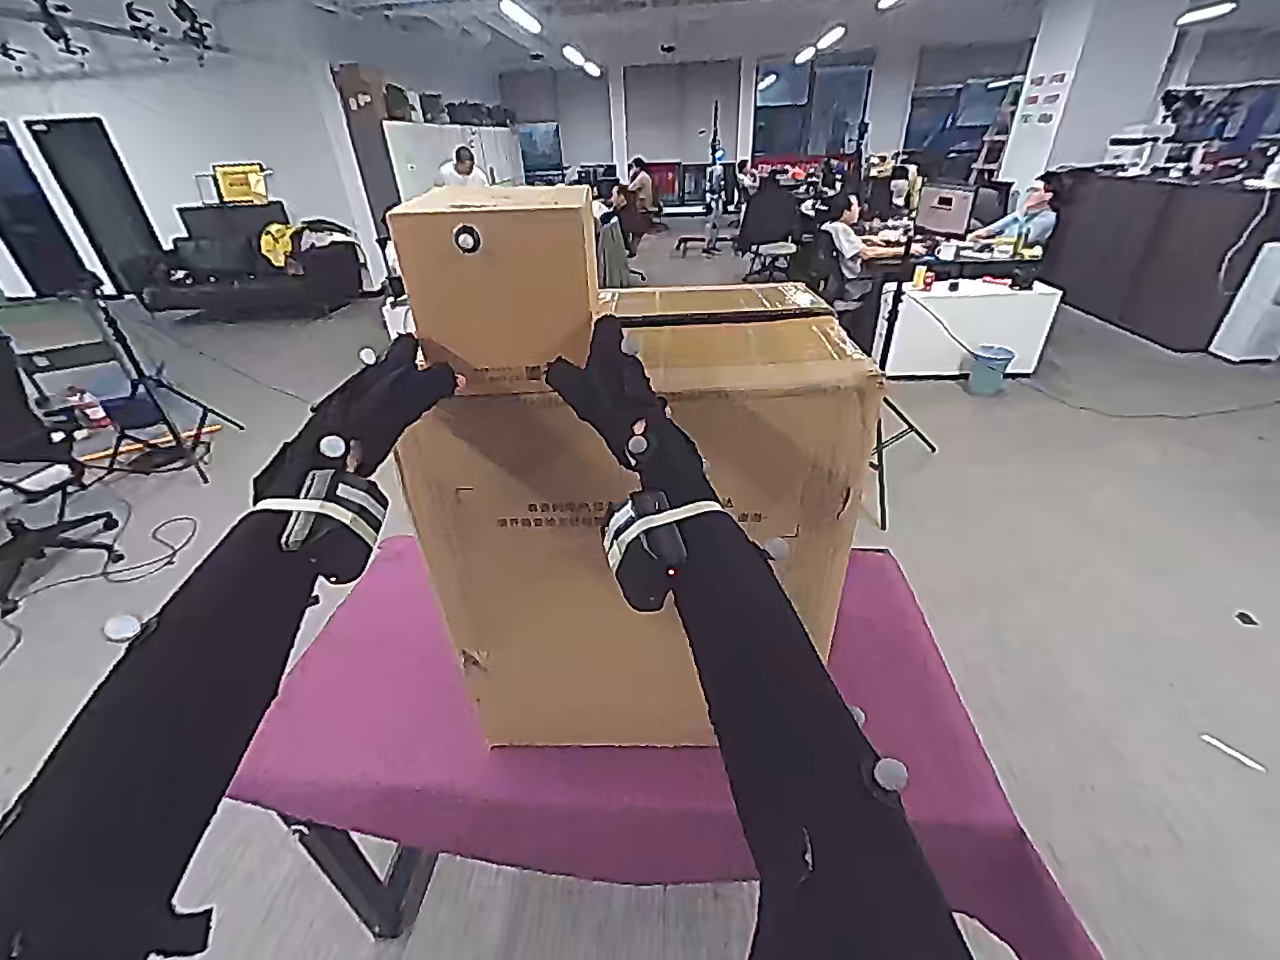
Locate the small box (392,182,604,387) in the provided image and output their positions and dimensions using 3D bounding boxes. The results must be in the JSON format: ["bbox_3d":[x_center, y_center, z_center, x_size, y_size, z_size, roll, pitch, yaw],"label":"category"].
[{"bbox_3d":[-0.126,-0.205,0.558,0.168,0.176,0.179,-3,33,-1],"label":"small box"}]
